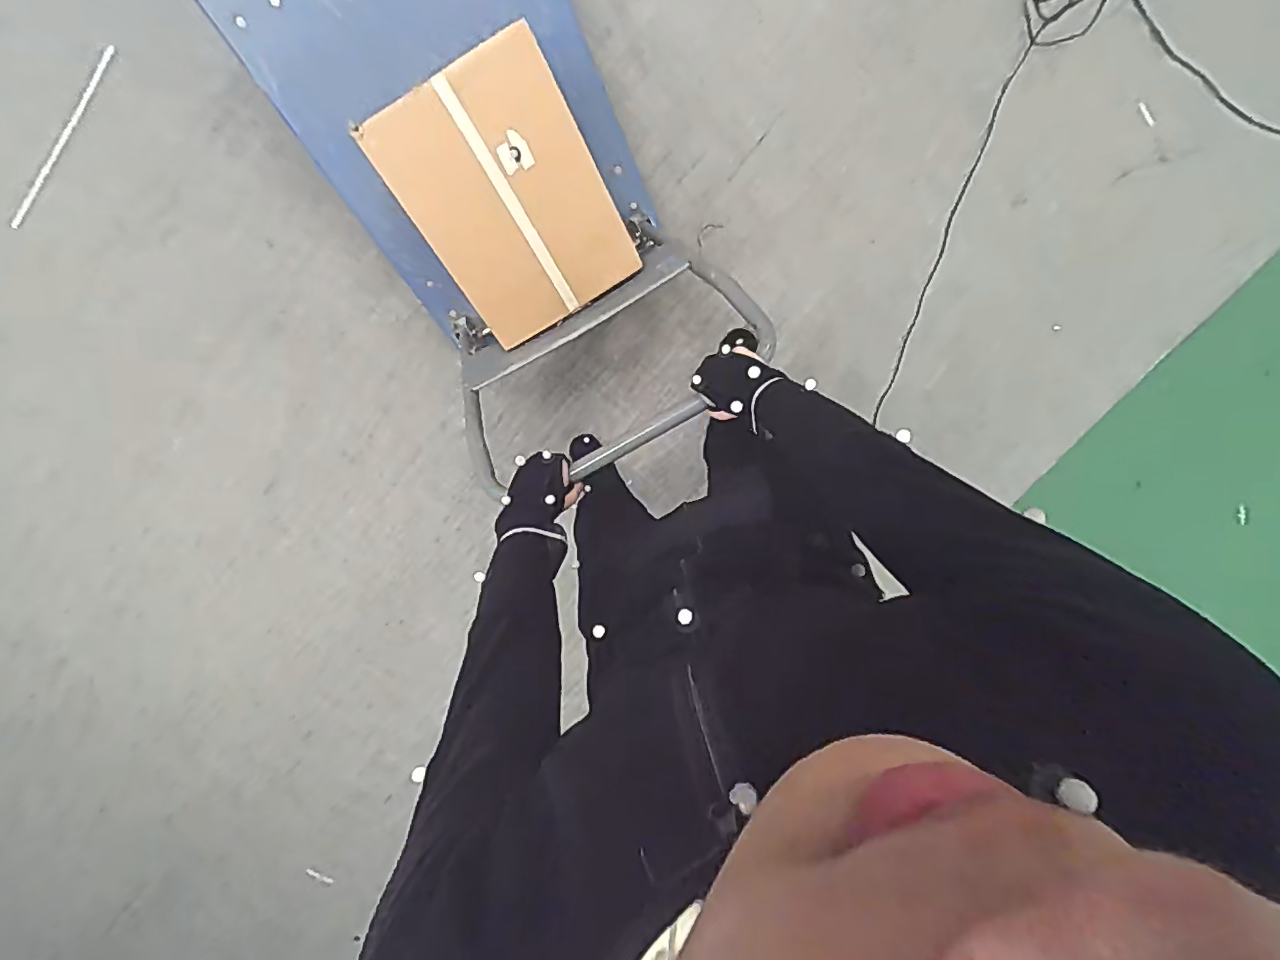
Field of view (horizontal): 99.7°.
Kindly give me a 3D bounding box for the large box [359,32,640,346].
[{"bbox_3d":[-0.251,-0.549,1.064,0.320,0.320,0.408,-31,125,4],"label":"large box"}]
